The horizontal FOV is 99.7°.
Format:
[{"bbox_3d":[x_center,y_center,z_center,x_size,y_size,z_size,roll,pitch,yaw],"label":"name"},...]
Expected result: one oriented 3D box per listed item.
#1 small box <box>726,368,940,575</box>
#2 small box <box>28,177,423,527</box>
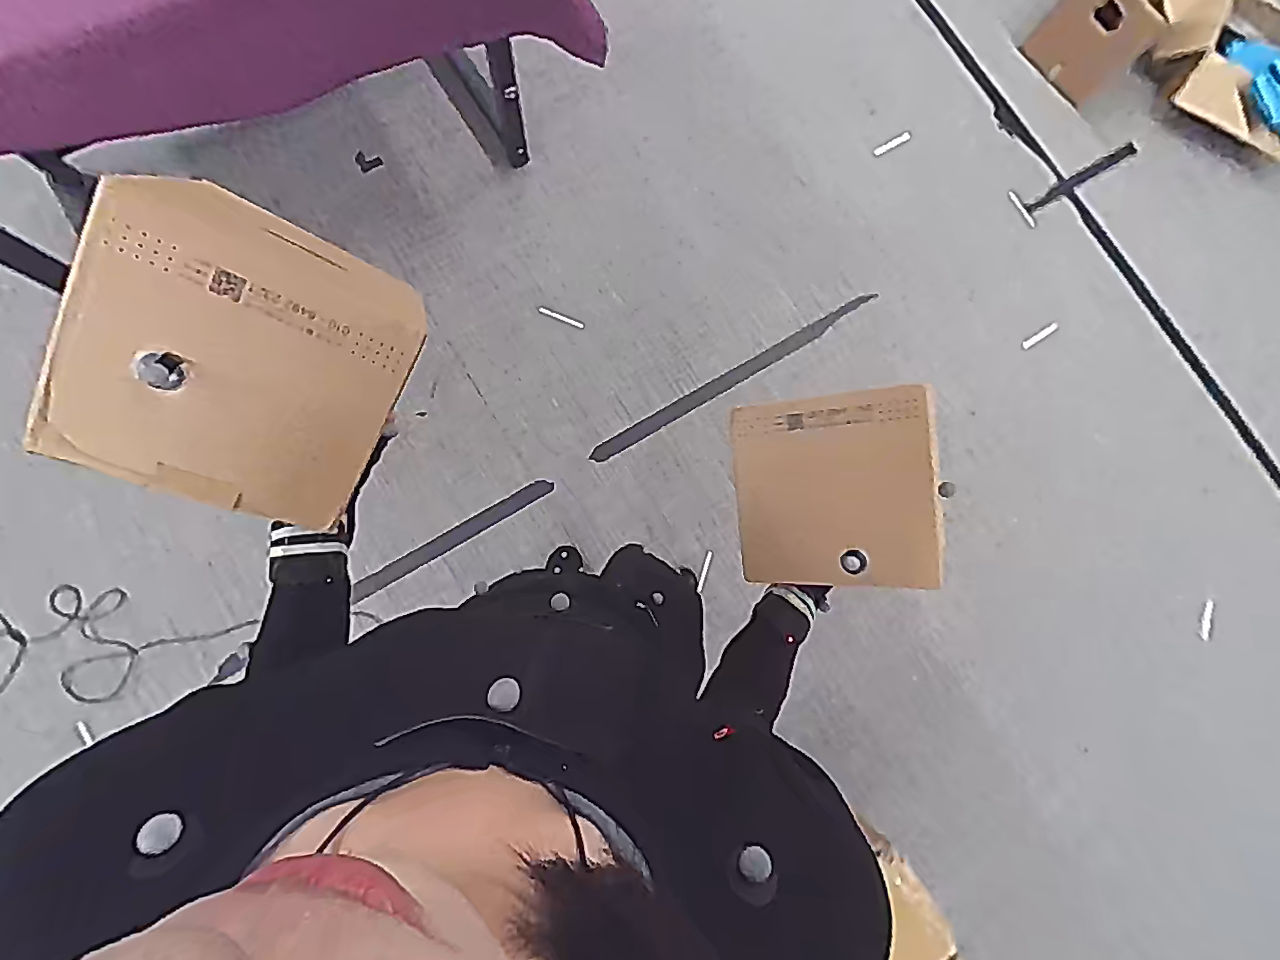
[{"bbox_3d":[0.196,-0.013,0.532,0.168,0.179,0.176,-5,94,31],"label":"small box"},{"bbox_3d":[-0.275,-0.098,0.399,0.168,0.179,0.176,25,105,-30],"label":"small box"}]
